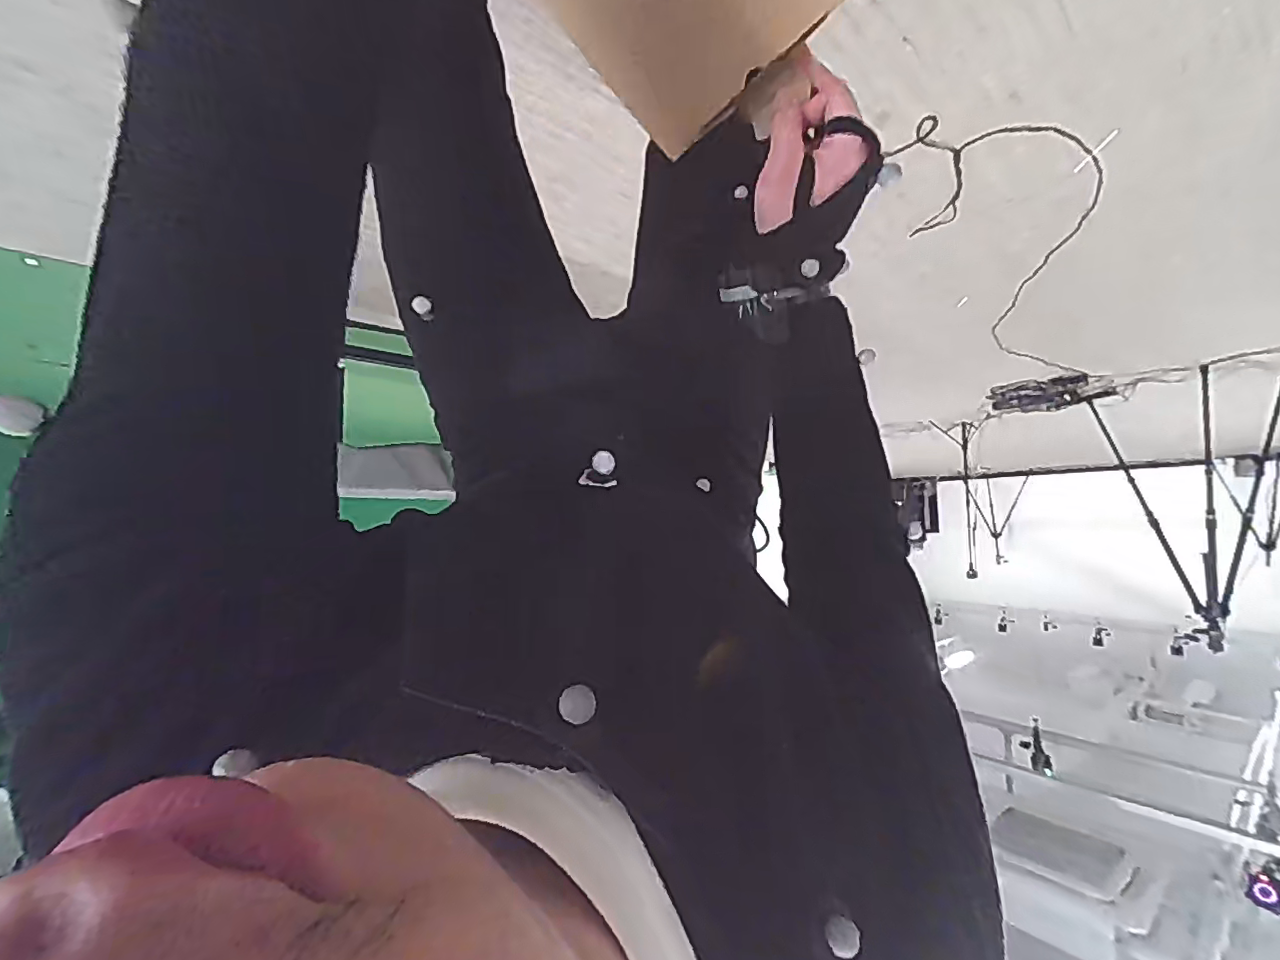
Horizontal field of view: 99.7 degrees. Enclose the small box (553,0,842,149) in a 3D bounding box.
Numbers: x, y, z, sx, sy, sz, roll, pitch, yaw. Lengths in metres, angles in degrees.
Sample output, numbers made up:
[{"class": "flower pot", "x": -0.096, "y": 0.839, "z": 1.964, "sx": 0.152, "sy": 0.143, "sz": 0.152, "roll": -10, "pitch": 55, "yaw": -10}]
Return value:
[{"class": "small box", "x": 0.048, "y": -0.381, "z": 0.358, "sx": 0.179, "sy": 0.176, "sz": 0.168, "roll": 39, "pitch": 145, "yaw": -25}]
